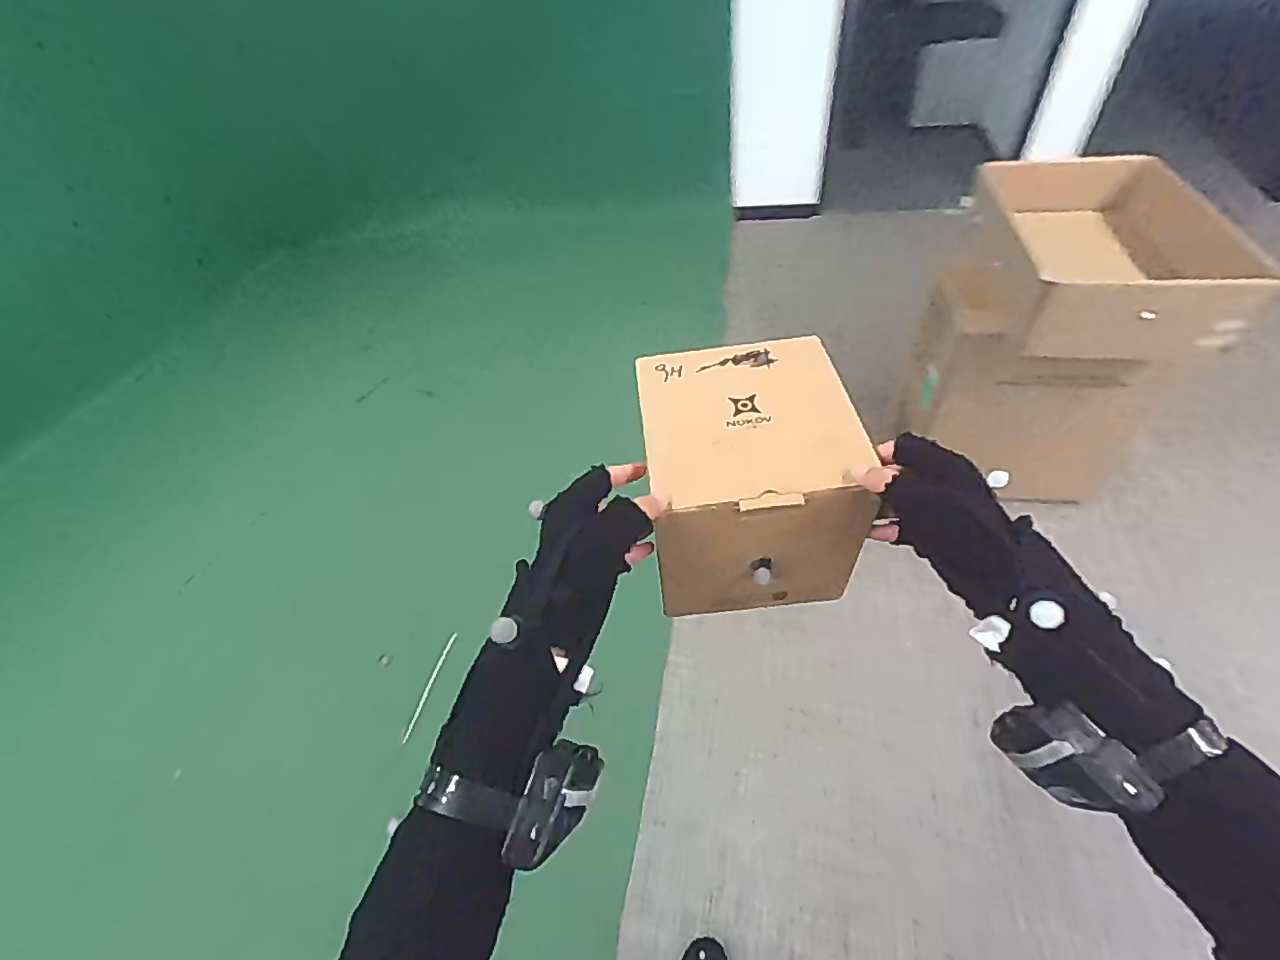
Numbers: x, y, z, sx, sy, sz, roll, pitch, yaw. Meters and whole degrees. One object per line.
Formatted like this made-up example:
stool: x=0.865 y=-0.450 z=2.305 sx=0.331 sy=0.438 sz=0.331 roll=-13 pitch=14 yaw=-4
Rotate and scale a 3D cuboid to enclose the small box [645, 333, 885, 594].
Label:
small box: x=0.097 y=-0.006 z=0.495 sx=0.168 sy=0.176 sz=0.179 roll=-5 pitch=52 yaw=2
